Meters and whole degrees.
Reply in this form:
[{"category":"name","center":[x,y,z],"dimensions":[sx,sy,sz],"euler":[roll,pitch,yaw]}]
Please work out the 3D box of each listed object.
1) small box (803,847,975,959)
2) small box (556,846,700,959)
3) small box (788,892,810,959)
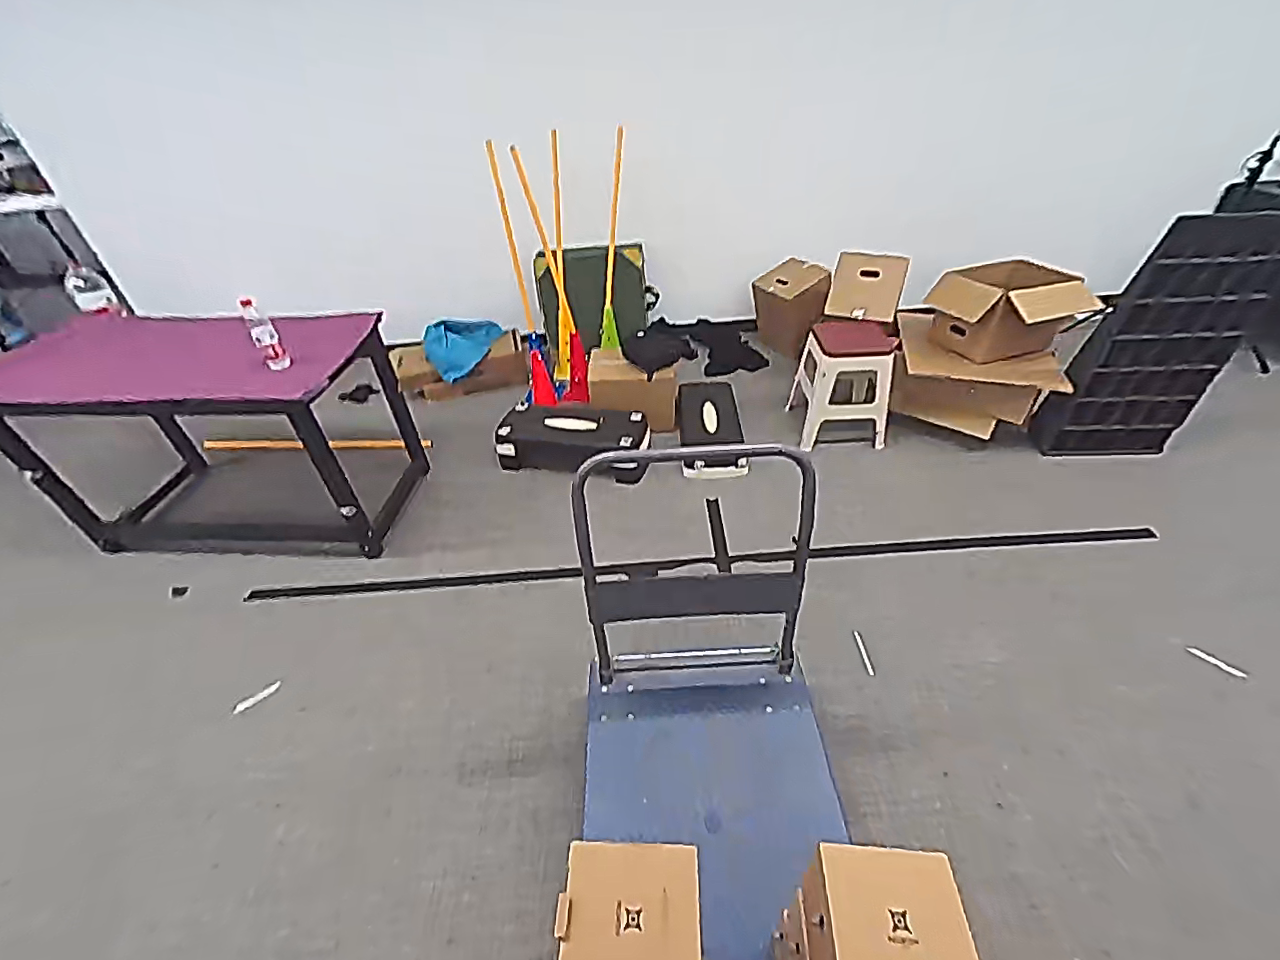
[{"category":"small box","center":[0.315,0.612,0.701],"dimensions":[0.168,0.176,0.179],"euler":[2,39,6]},{"category":"small box","center":[-0.009,0.614,0.722],"dimensions":[0.179,0.176,0.168],"euler":[1,40,4]},{"category":"small box","center":[0.321,0.742,0.803],"dimensions":[0.179,0.176,0.168],"euler":[2,39,4]}]
